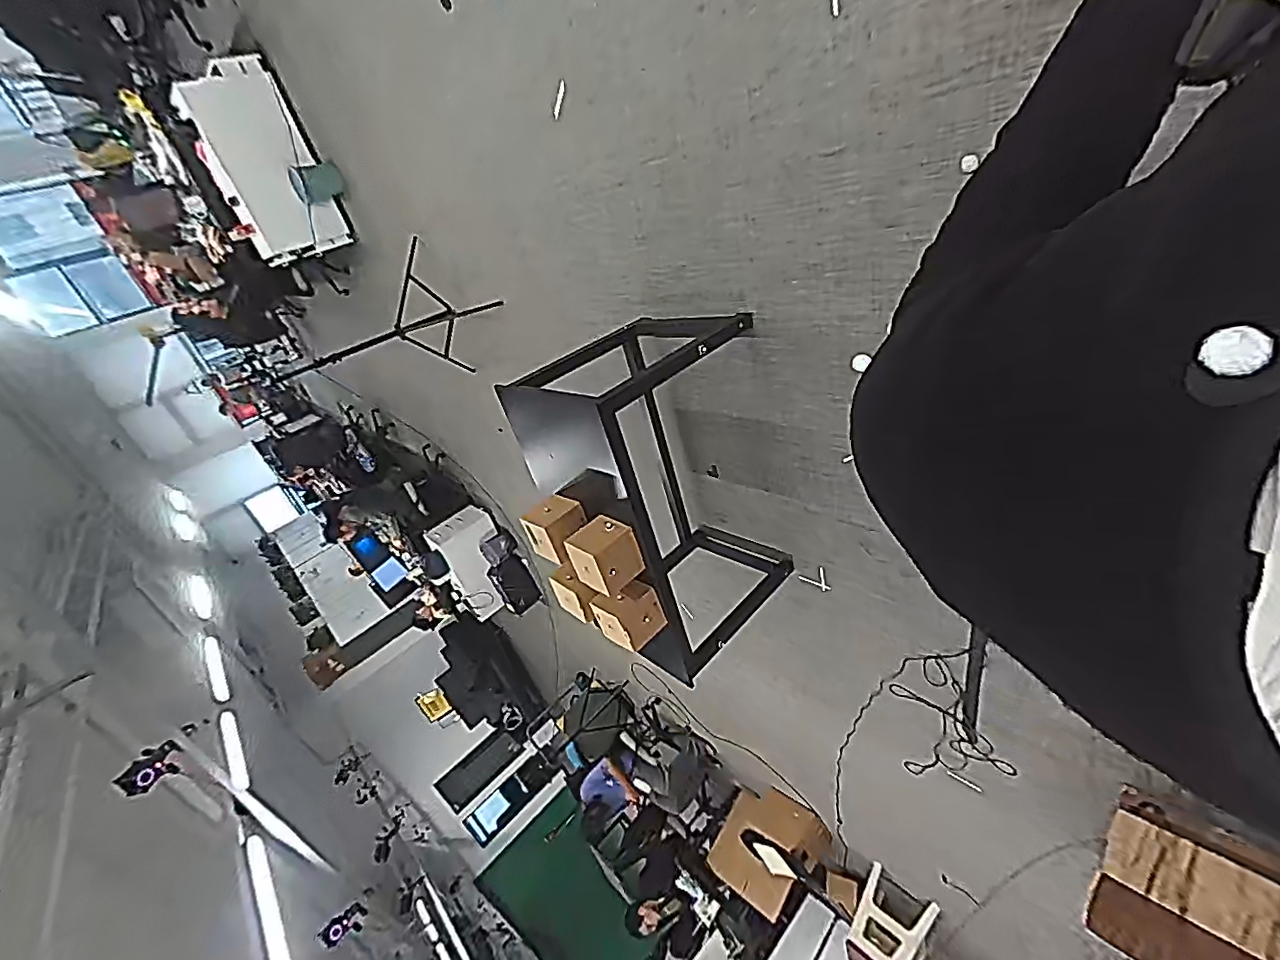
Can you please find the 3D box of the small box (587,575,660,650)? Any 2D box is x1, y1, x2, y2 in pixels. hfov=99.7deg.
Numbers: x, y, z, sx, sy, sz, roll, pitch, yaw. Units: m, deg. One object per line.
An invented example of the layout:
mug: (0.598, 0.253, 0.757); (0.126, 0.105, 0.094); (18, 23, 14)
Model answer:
small box: (-0.049, 0.452, 1.884); (0.179, 0.176, 0.168); (11, 129, 50)

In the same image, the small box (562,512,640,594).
small box: (-0.122, 0.234, 1.767); (0.168, 0.176, 0.179); (16, 132, 46)

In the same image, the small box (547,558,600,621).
small box: (-0.225, 0.402, 2.083); (0.179, 0.176, 0.168); (18, 135, 45)
